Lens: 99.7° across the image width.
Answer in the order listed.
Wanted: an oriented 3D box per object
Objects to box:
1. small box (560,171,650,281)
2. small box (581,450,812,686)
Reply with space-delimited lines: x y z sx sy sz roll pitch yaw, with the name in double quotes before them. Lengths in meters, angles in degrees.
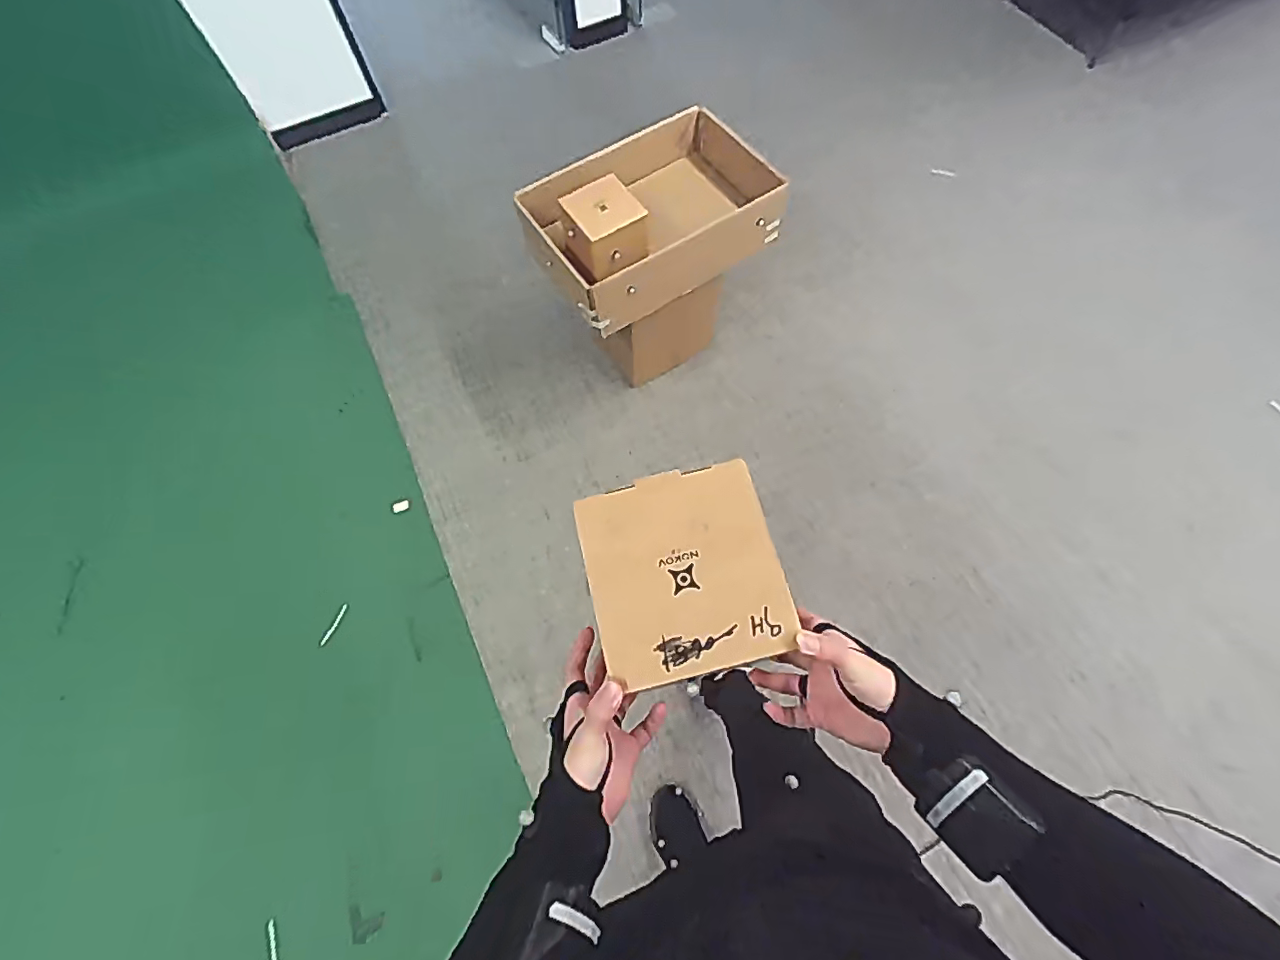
"small box" -0.083 -0.647 1.399 0.168 0.176 0.179 -32 69 -10
"small box" 0.047 0.096 0.534 0.168 0.176 0.179 -14 69 0
